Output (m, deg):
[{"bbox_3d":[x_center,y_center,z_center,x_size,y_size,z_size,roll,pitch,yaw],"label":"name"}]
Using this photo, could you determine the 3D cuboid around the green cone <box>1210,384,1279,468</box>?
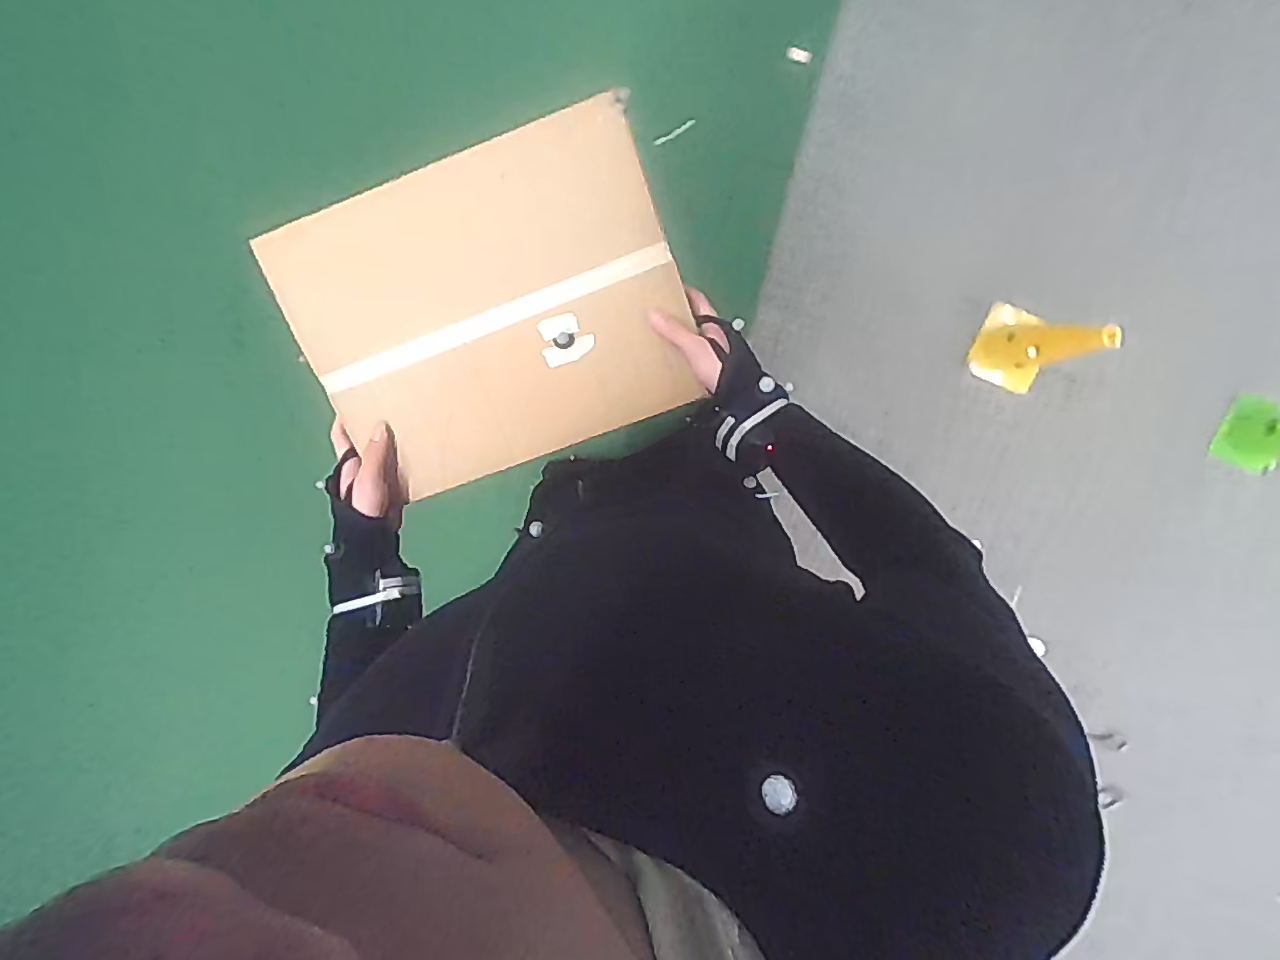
[{"bbox_3d":[1.755,-0.127,1.374,0.202,0.368,0.200,19,99,0],"label":"green cone"}]
